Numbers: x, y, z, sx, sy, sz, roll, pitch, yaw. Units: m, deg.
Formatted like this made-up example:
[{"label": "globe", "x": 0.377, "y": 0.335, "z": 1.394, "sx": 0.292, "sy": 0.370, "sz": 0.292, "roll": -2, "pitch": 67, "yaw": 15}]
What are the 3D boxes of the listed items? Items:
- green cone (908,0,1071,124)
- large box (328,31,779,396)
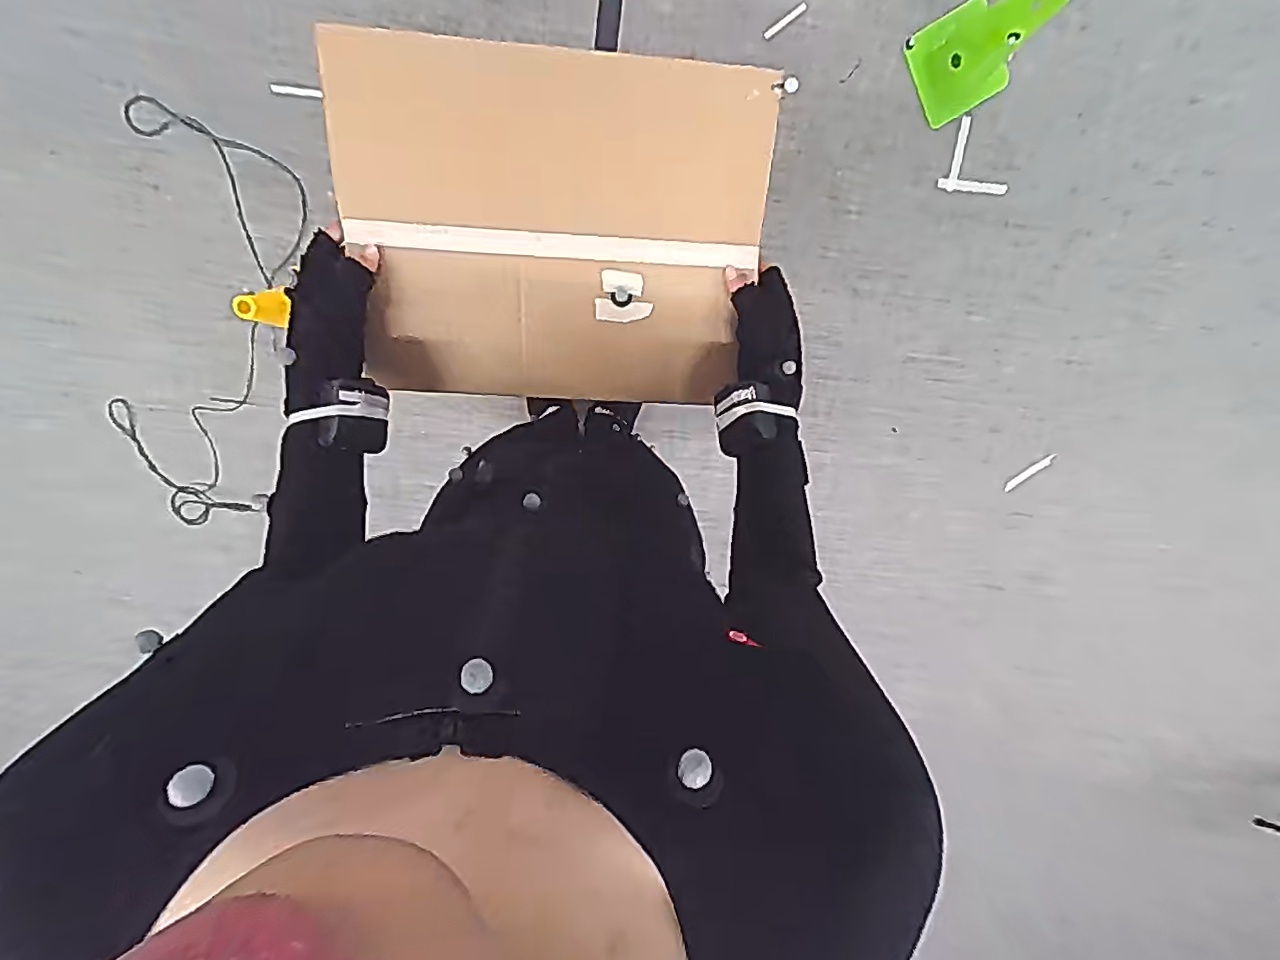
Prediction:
[{"label": "green cone", "x": 0.736, "y": -0.901, "z": 1.063, "sx": 0.202, "sy": 0.368, "sz": 0.200, "roll": -31, "pitch": 107, "yaw": 5}, {"label": "large box", "x": -0.088, "y": -0.297, "z": 0.669, "sx": 0.408, "sy": 0.320, "sz": 0.320, "roll": 2, "pitch": 115, "yaw": -5}]
